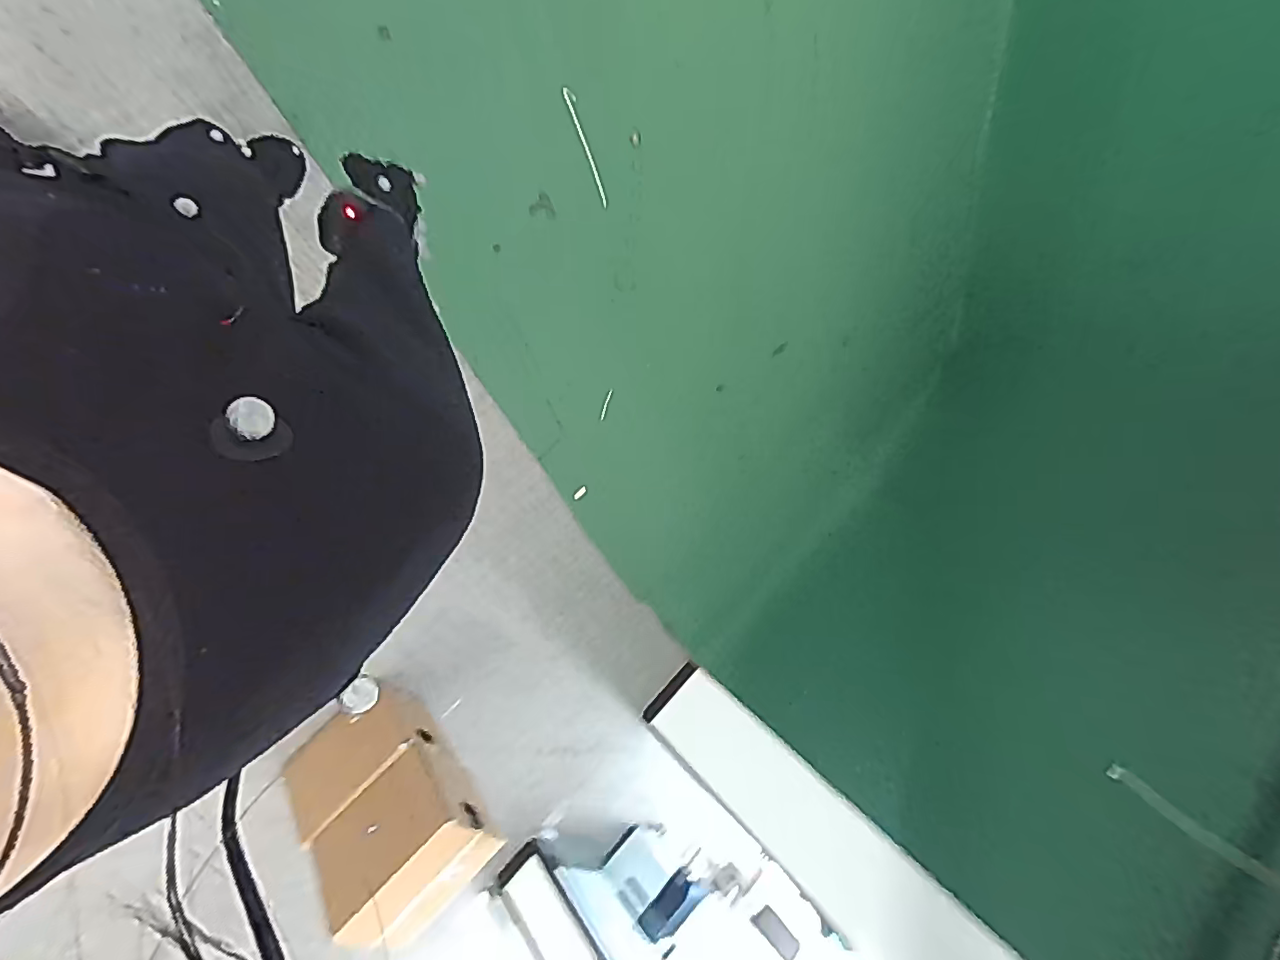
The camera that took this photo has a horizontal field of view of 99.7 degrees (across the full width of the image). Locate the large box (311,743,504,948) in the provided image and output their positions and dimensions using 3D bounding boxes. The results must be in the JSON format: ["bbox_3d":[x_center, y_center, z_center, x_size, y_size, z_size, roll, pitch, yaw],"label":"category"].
[{"bbox_3d":[-0.716,1.121,1.674,0.408,0.320,0.320,-44,135,-15],"label":"large box"}]
